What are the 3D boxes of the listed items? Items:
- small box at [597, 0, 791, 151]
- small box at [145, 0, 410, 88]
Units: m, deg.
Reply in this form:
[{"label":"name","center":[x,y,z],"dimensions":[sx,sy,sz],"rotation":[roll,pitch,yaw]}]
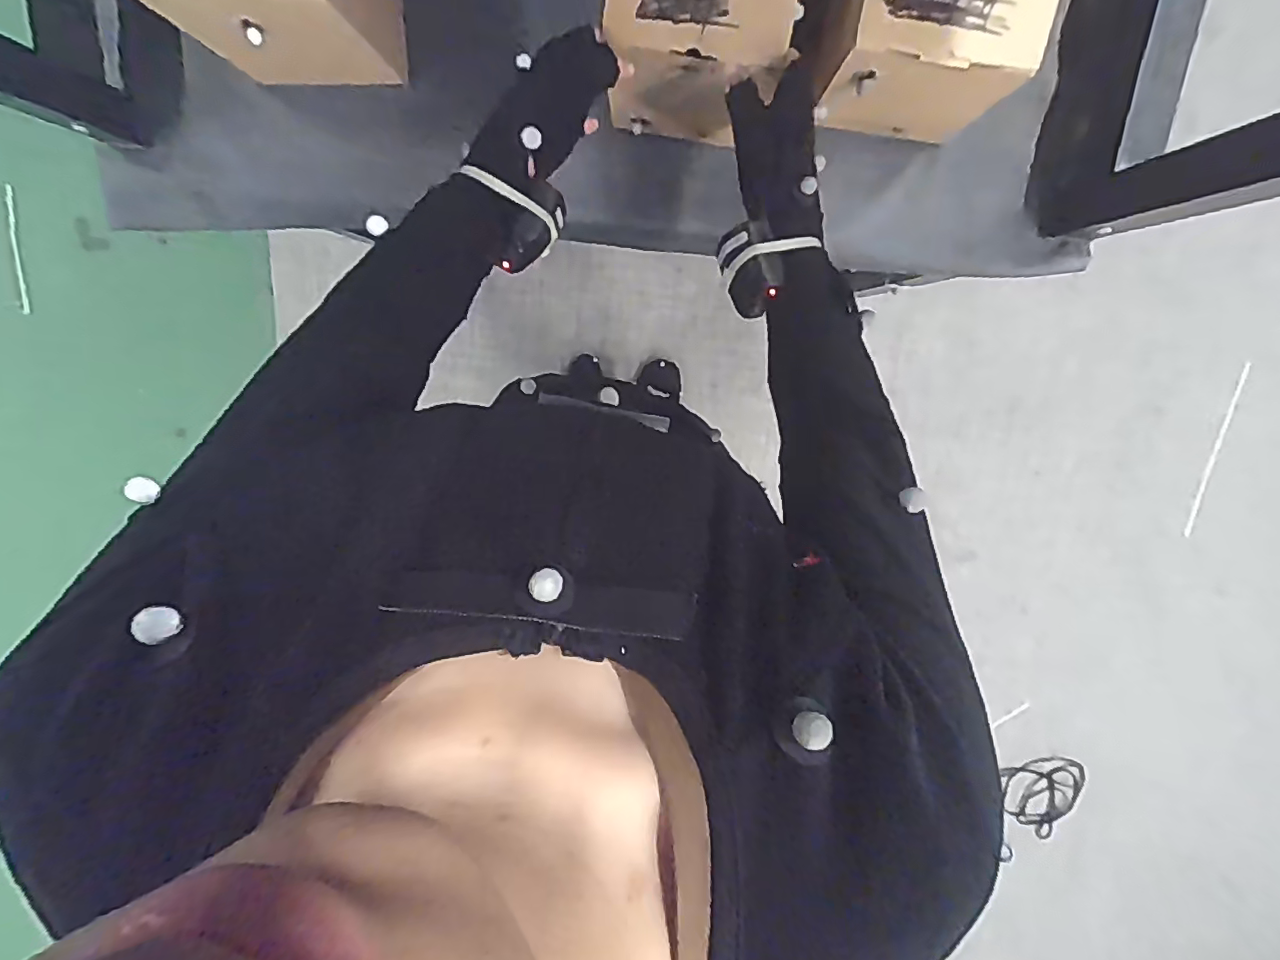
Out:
[{"label":"small box","center":[0.059,-0.464,0.543],"dimensions":[0.168,0.176,0.179],"rotation":[10,100,-1]},{"label":"small box","center":[-0.357,-0.524,0.543],"dimensions":[0.179,0.176,0.168],"rotation":[1,105,1]}]
